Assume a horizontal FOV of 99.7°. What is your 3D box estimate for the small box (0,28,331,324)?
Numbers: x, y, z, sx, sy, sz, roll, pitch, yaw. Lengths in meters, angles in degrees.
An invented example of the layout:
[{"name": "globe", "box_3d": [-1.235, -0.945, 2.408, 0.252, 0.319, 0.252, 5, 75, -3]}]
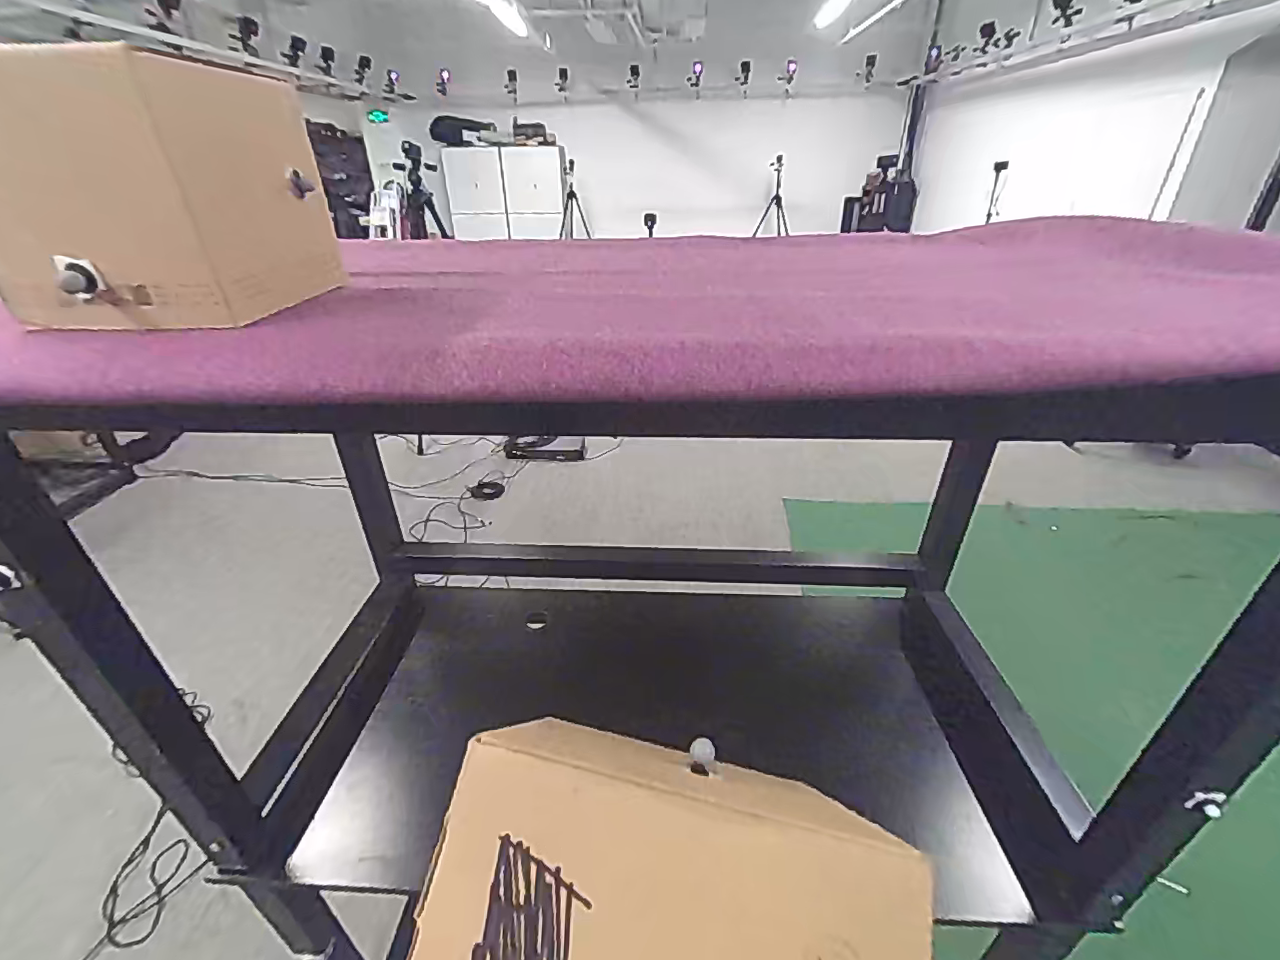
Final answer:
[{"name": "small box", "box_3d": [-0.375, -0.227, 0.422, 0.168, 0.176, 0.179, -2, 31, 1]}]
